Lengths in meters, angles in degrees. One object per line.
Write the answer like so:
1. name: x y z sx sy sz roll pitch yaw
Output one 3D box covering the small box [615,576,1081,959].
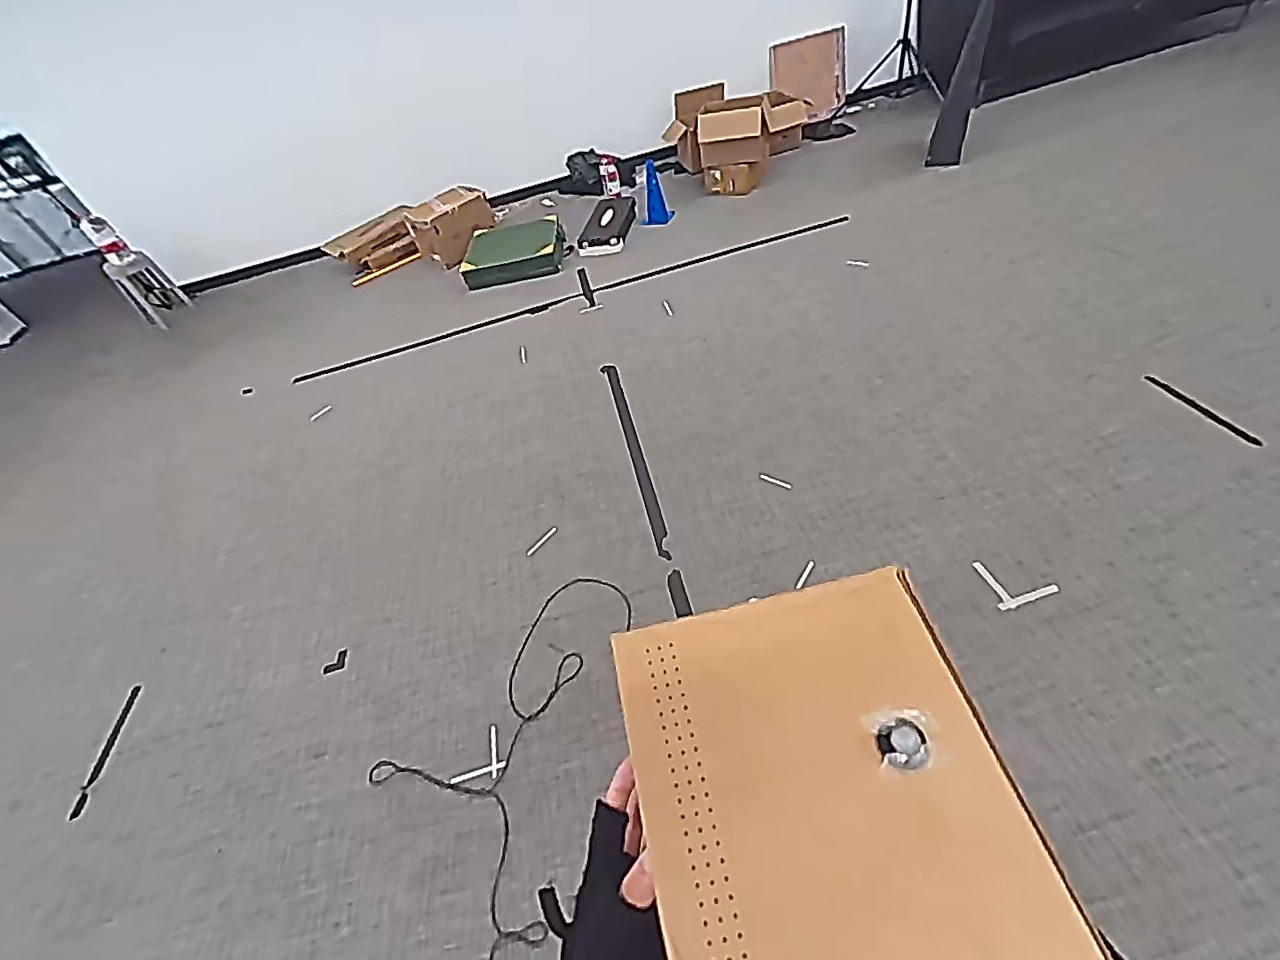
1. small box: 0.088 0.186 0.324 0.176 0.168 0.179 -15 56 0
